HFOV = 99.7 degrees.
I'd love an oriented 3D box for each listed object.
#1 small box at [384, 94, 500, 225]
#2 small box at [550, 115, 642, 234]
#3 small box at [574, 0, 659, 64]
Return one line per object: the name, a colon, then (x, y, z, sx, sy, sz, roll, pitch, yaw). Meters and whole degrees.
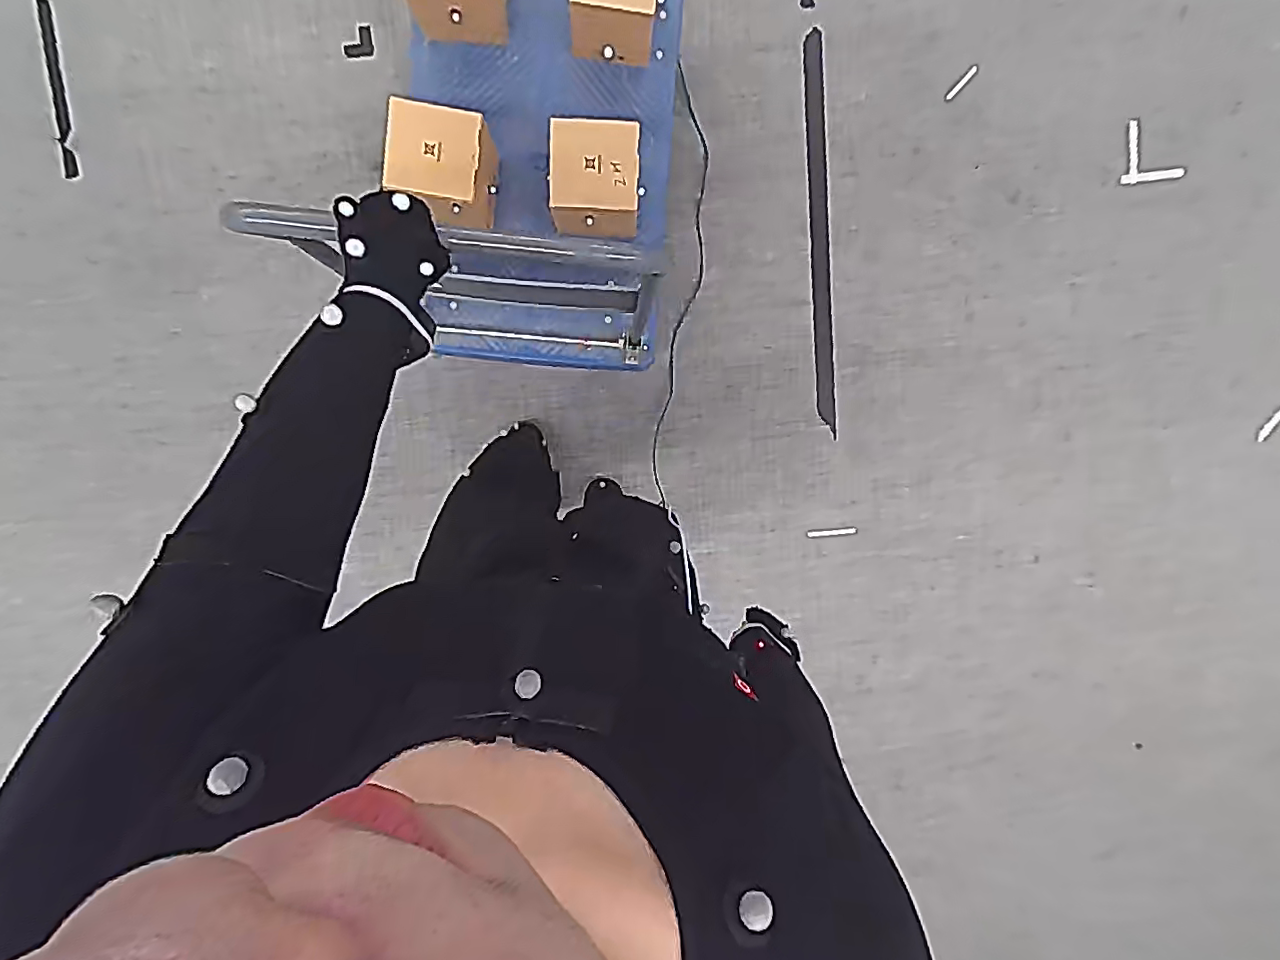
small box: (-0.397, -0.644, 1.108, 0.179, 0.176, 0.168, 7, 96, -6)
small box: (-0.088, -0.626, 1.126, 0.179, 0.176, 0.168, 2, 97, -3)
small box: (-0.043, -0.990, 1.084, 0.168, 0.176, 0.179, 6, 98, -4)
